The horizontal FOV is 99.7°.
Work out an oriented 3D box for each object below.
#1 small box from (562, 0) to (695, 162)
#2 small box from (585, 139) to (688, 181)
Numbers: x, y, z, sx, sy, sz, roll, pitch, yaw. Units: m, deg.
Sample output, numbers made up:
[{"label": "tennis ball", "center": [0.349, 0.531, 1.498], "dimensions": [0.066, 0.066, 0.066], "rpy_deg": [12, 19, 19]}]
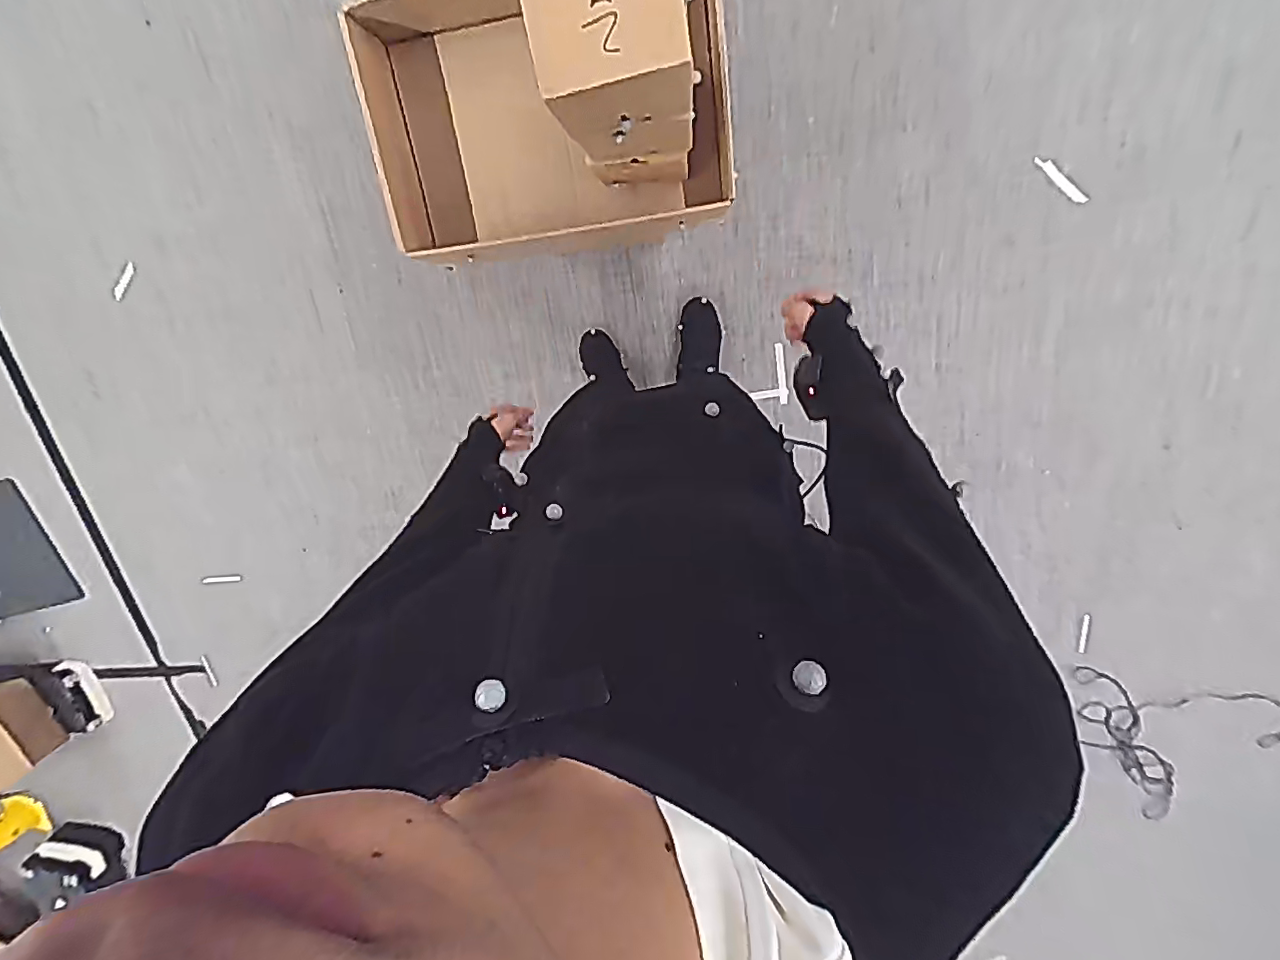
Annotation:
[{"label": "small box", "center": [-0.008, -0.578, 0.770], "dimensions": [0.168, 0.176, 0.179], "rpy_deg": [-3, 108, 7]}, {"label": "small box", "center": [-0.001, -0.623, 0.927], "dimensions": [0.168, 0.176, 0.179], "rpy_deg": [0, 108, 5]}]
